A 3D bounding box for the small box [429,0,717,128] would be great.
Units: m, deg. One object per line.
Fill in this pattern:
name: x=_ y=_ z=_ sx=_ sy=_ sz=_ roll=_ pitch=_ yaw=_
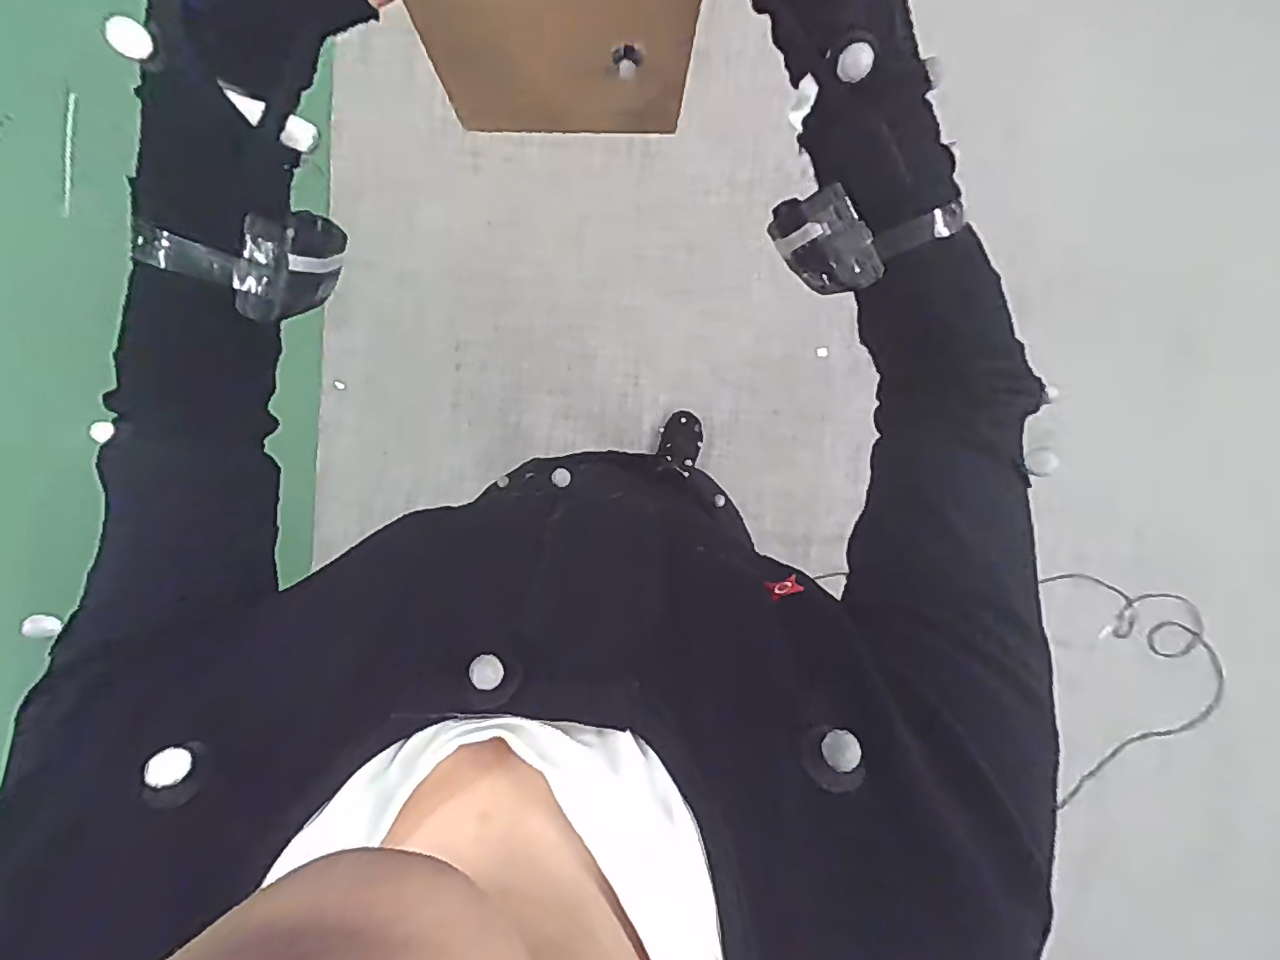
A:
small box: x=-0.041 y=-0.364 z=0.356 sx=0.179 sy=0.176 sz=0.168 roll=-2 pitch=92 yaw=-2
